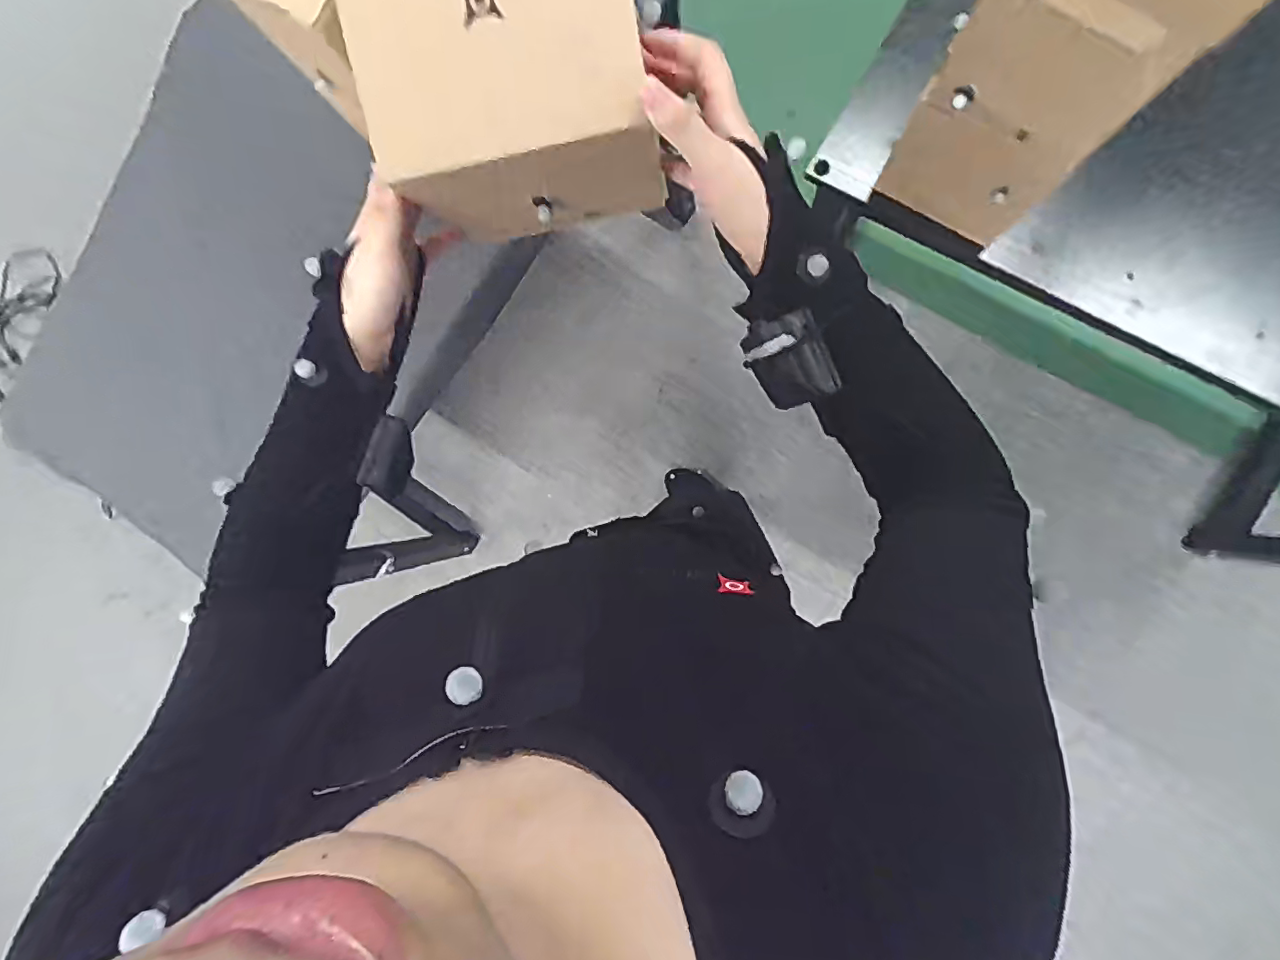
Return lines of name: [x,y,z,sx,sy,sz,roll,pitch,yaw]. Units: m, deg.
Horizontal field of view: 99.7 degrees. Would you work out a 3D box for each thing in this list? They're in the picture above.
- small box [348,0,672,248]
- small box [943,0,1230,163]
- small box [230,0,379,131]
small box: [-0.072,-0.275,0.377,0.168,0.176,0.179,-9,101,7]
small box: [0.404,-0.430,0.475,0.168,0.176,0.179,34,92,7]
small box: [-0.304,-0.516,0.582,0.168,0.176,0.179,33,94,10]
